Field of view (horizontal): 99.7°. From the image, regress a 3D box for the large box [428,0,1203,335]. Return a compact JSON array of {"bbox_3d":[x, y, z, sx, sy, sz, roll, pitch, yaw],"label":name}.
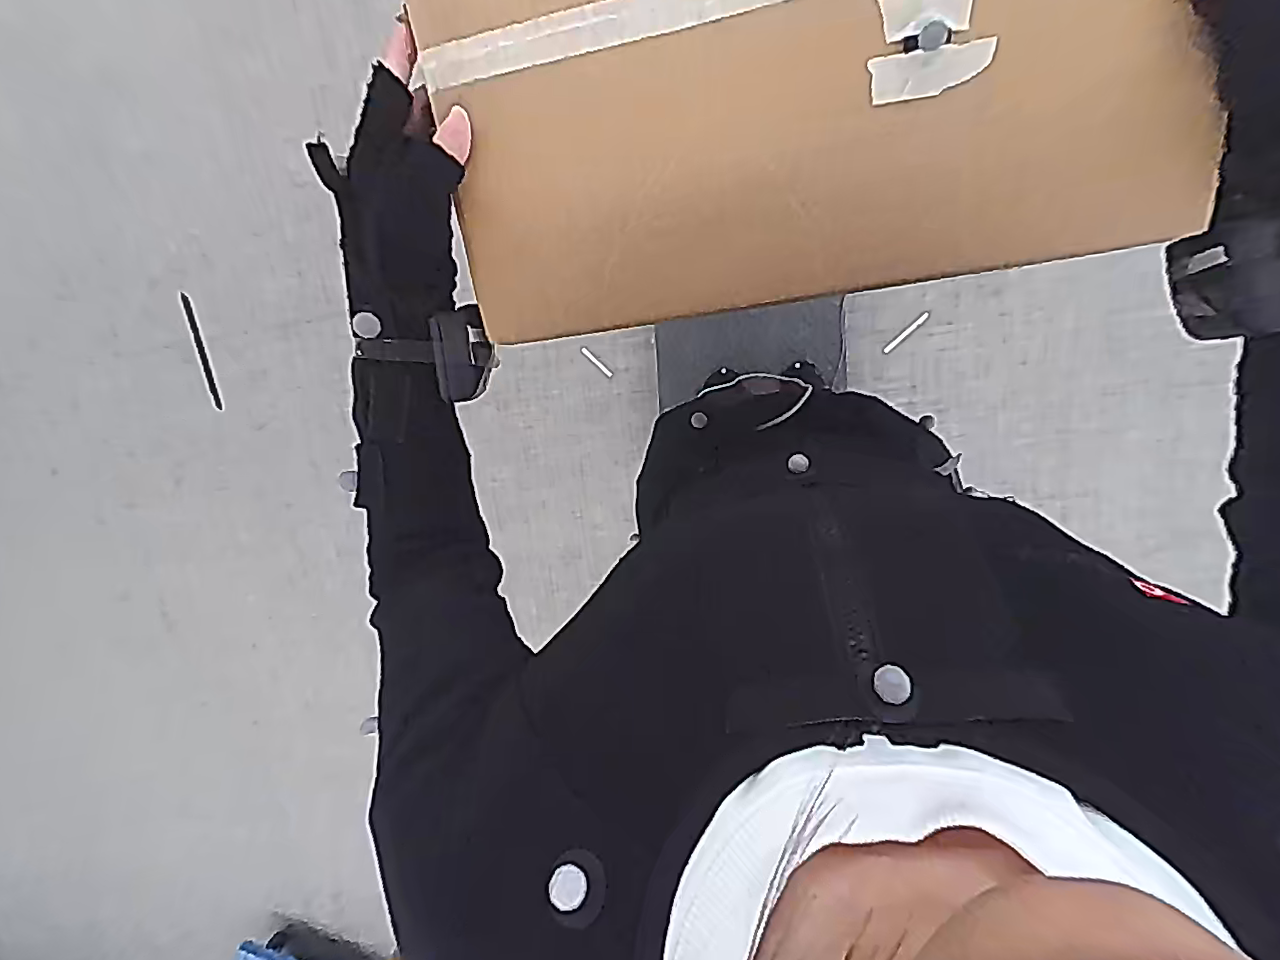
[{"bbox_3d":[0.095,-0.310,0.428,0.408,0.320,0.320,-6,108,10],"label":"large box"}]
